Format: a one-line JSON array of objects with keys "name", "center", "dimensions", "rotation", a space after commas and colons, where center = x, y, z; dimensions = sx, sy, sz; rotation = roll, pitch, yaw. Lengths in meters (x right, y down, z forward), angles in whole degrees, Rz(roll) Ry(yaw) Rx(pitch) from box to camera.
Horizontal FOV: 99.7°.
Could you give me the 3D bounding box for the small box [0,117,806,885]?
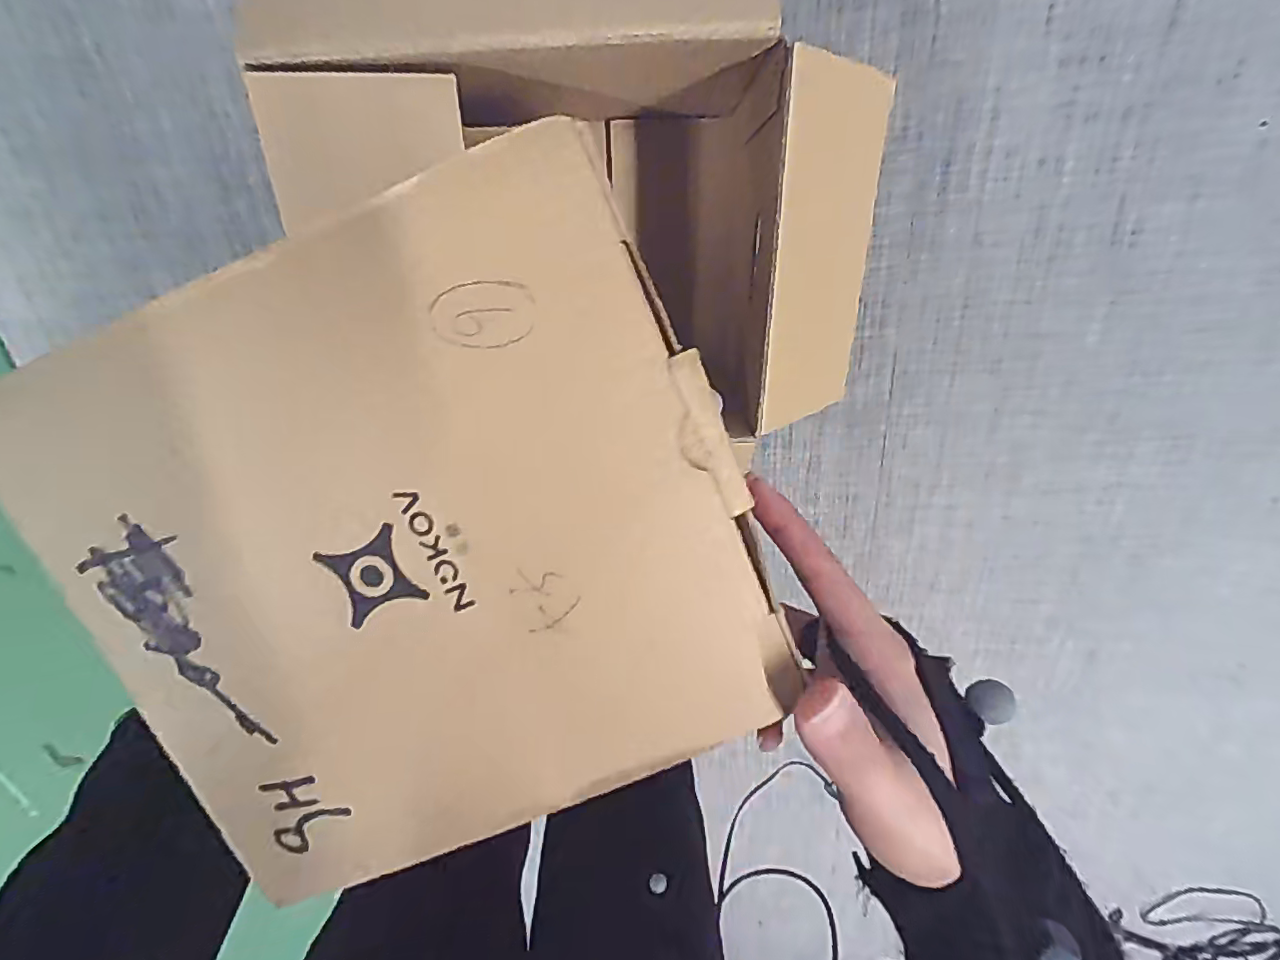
[{"name": "small box", "center": [-0.062, 0.002, 0.223], "dimensions": [0.179, 0.176, 0.168], "rotation": [-22, 101, 3]}]
